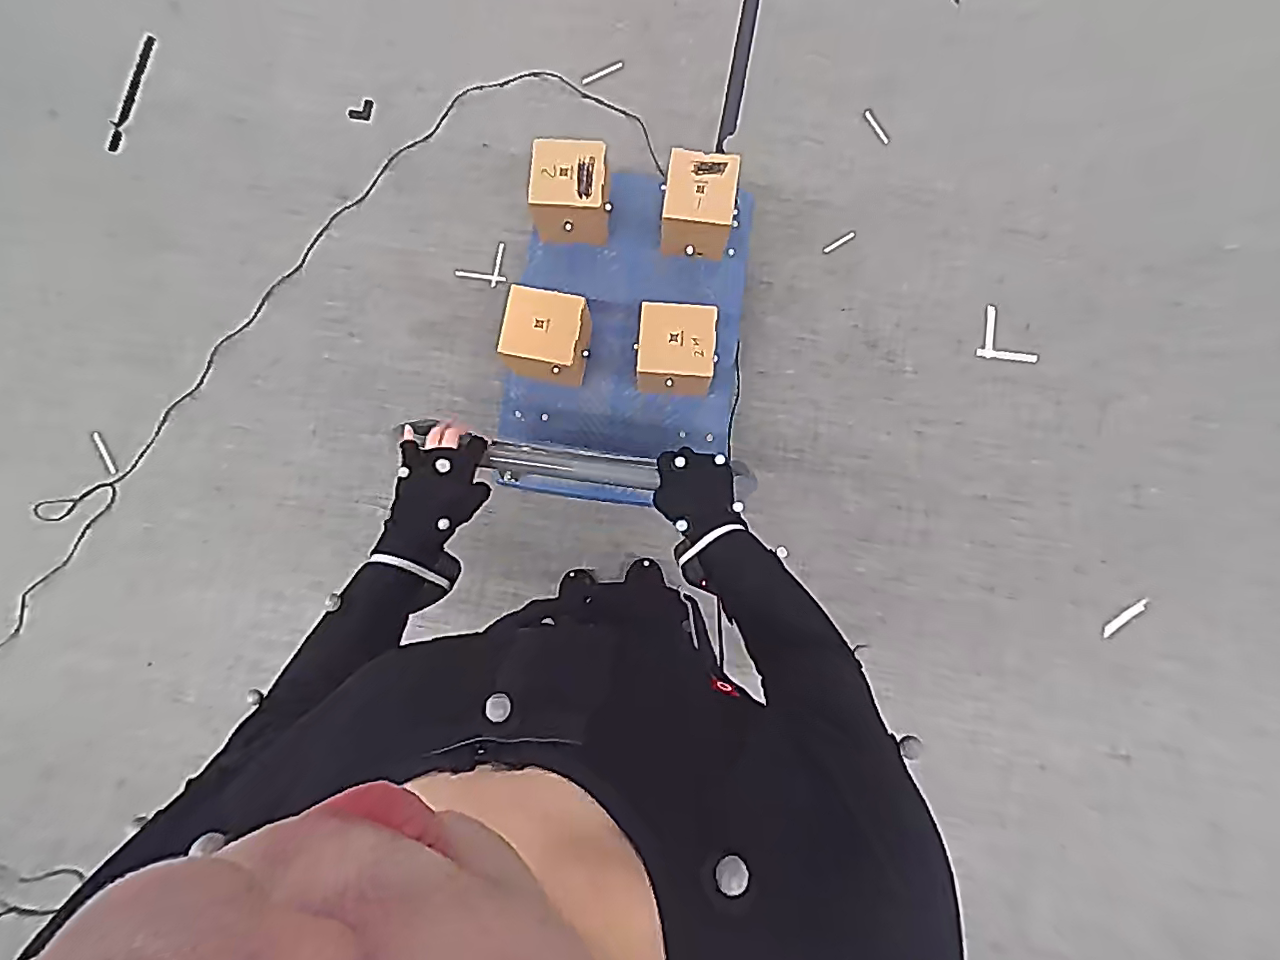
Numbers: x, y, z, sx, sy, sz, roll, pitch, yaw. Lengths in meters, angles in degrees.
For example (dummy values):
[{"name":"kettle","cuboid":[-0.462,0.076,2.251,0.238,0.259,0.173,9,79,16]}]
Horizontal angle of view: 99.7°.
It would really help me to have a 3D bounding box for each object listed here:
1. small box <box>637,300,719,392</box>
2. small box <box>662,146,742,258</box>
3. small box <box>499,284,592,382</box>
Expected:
[{"name":"small box","cuboid":[0.088,-0.314,1.299,0.179,0.176,0.168,5,84,1]},{"name":"small box","cuboid":[0.147,-0.680,1.336,0.168,0.176,0.179,8,85,2]},{"name":"small box","cuboid":[-0.220,-0.348,1.307,0.179,0.176,0.168,10,84,0]}]
